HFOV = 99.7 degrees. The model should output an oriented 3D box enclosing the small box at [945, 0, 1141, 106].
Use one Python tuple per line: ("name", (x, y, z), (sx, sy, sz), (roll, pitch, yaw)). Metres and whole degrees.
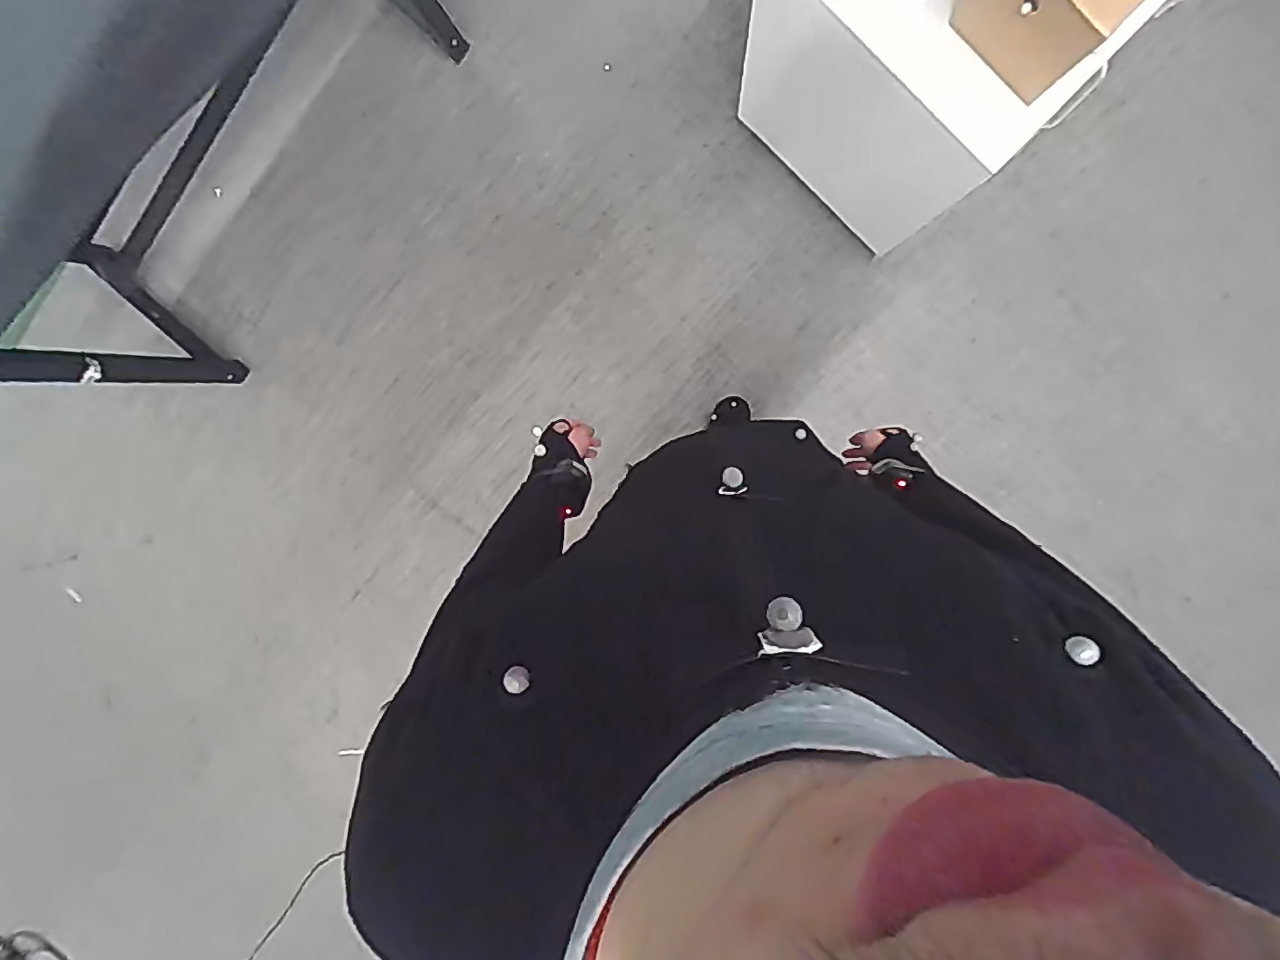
("small box", (0.559, -0.661, 0.726), (0.179, 0.176, 0.168), (43, 99, -4))
